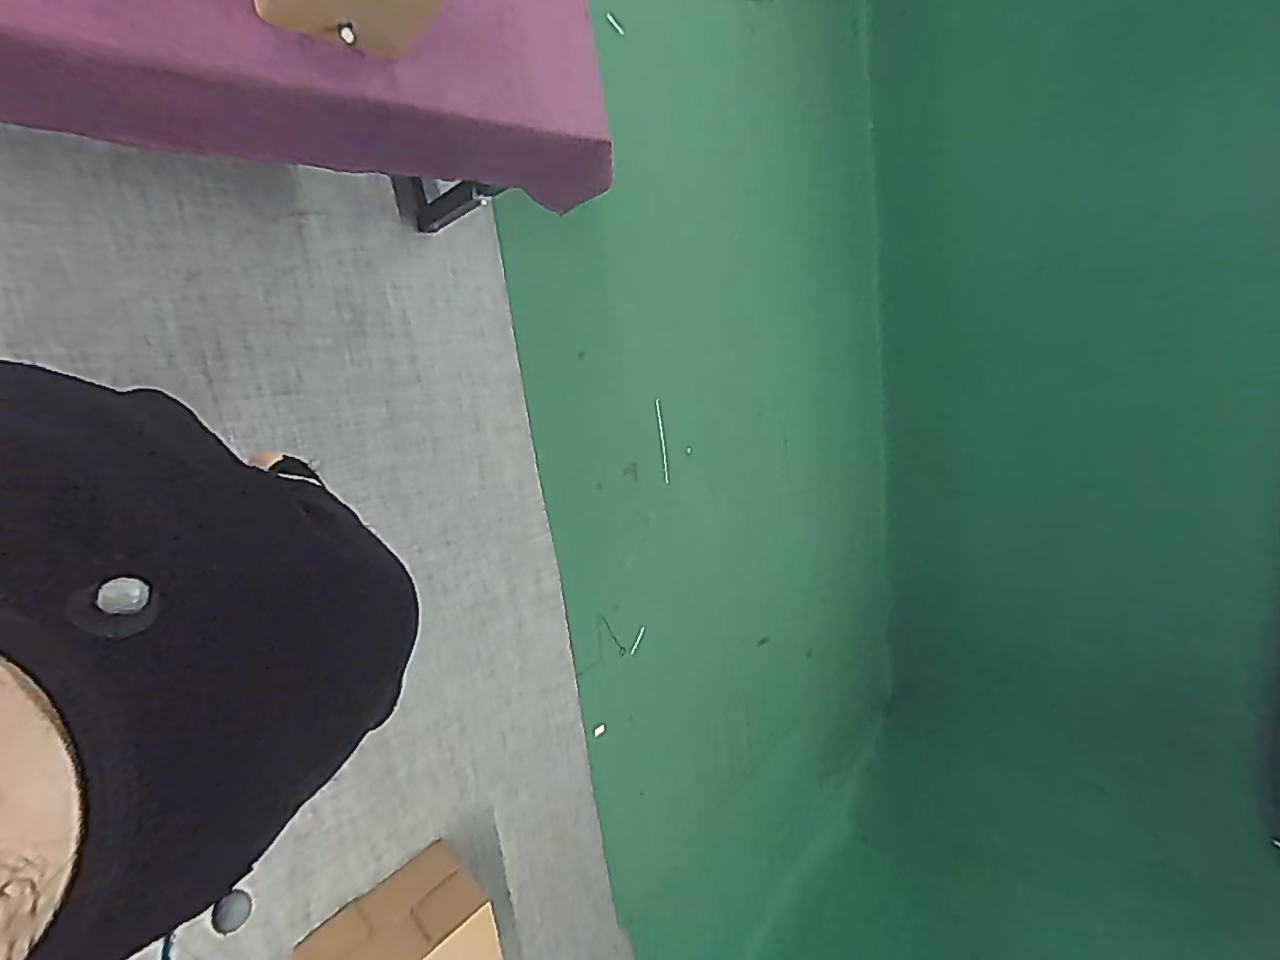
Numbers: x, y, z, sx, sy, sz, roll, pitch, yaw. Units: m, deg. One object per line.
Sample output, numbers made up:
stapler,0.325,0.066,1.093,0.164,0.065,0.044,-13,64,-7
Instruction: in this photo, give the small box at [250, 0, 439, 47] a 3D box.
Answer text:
small box,-0.365,-0.663,0.644,0.179,0.176,0.168,-21,107,-44
